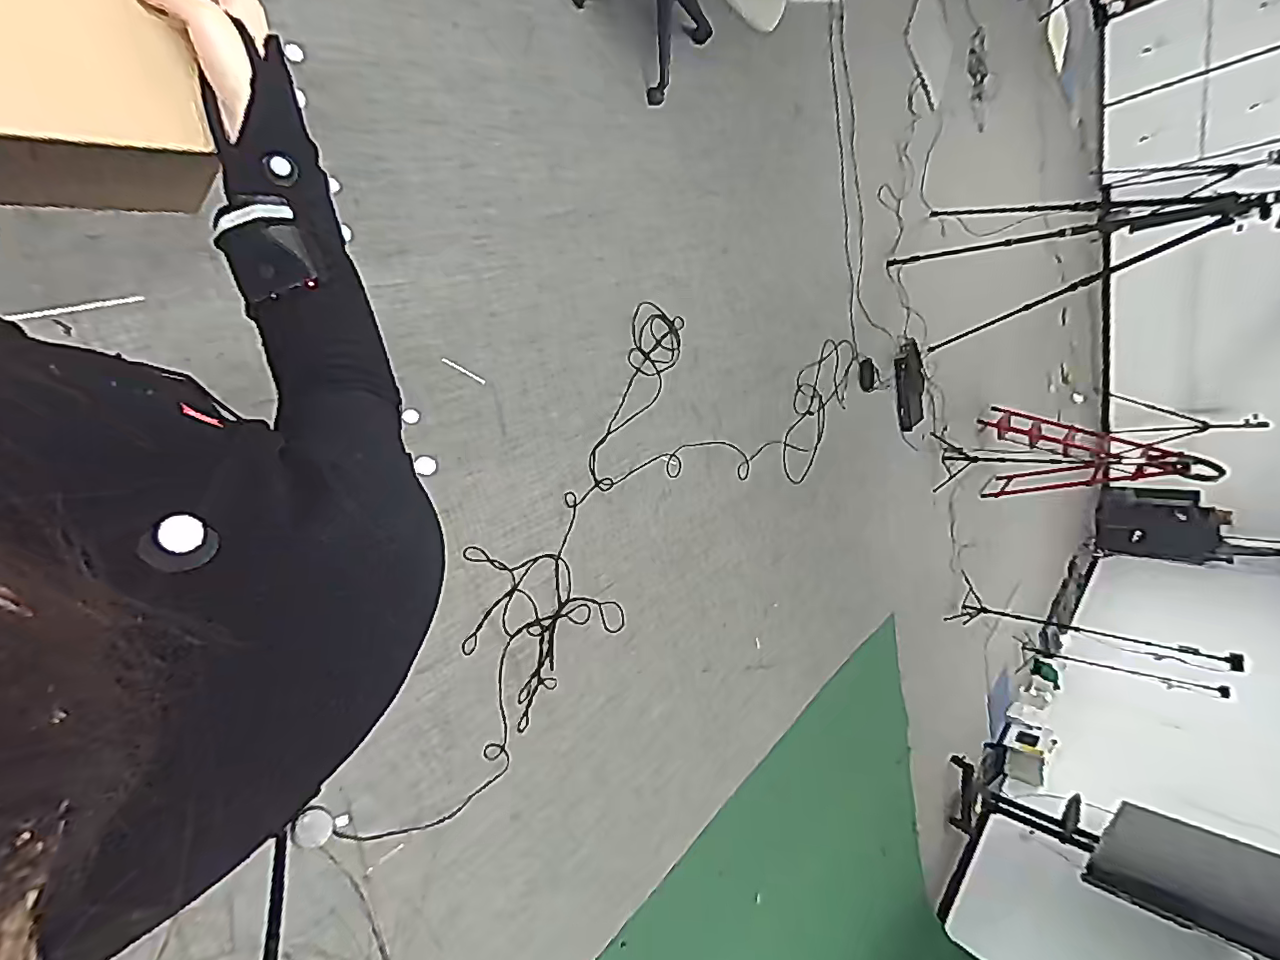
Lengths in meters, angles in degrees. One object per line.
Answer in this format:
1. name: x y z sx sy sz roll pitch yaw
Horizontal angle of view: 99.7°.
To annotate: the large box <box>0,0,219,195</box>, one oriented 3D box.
1. large box: -0.574 -0.380 0.352 0.408 0.320 0.320 -19 115 -36
